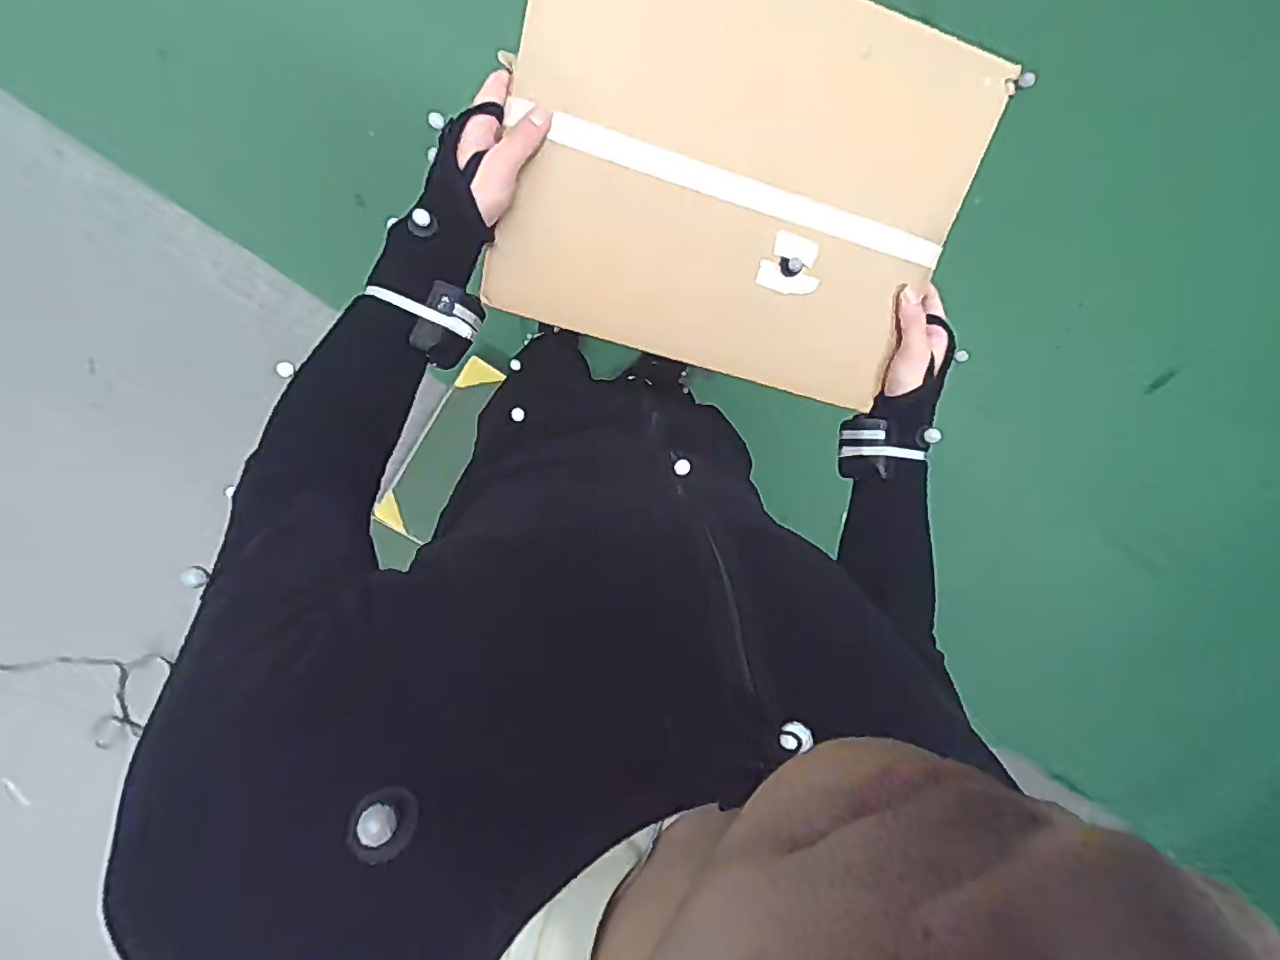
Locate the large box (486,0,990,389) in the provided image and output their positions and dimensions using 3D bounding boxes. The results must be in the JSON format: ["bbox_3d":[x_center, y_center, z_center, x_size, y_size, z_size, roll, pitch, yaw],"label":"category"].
[{"bbox_3d":[0.065,-0.325,0.625,0.408,0.320,0.320,12,111,-11],"label":"large box"}]
